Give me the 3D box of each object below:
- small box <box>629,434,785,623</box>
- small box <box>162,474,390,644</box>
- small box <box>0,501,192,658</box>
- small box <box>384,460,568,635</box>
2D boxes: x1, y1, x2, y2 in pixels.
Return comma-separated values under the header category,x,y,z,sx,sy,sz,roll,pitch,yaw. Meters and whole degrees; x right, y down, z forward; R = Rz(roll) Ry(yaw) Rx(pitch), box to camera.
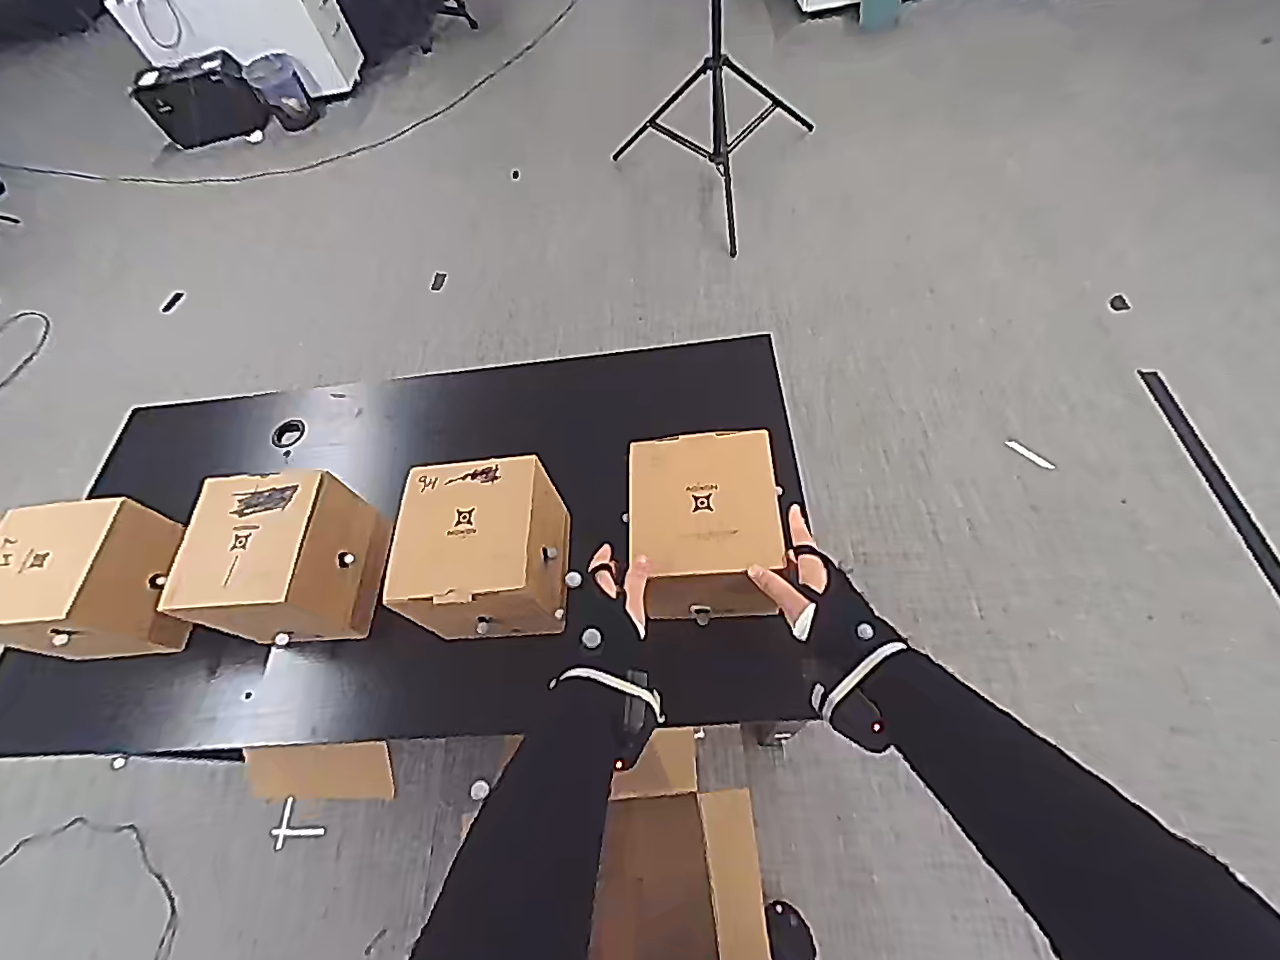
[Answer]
category,x,y,z,sx,sy,sz,roll,pitch,yaw
small box,0.080,0.066,0.673,0.168,0.176,0.179,-6,60,8
small box,-0.468,0.112,0.732,0.168,0.176,0.179,-5,60,6
small box,-0.751,0.145,0.754,0.179,0.176,0.168,-6,59,5
small box,-0.195,0.096,0.699,0.168,0.176,0.179,-5,60,6
